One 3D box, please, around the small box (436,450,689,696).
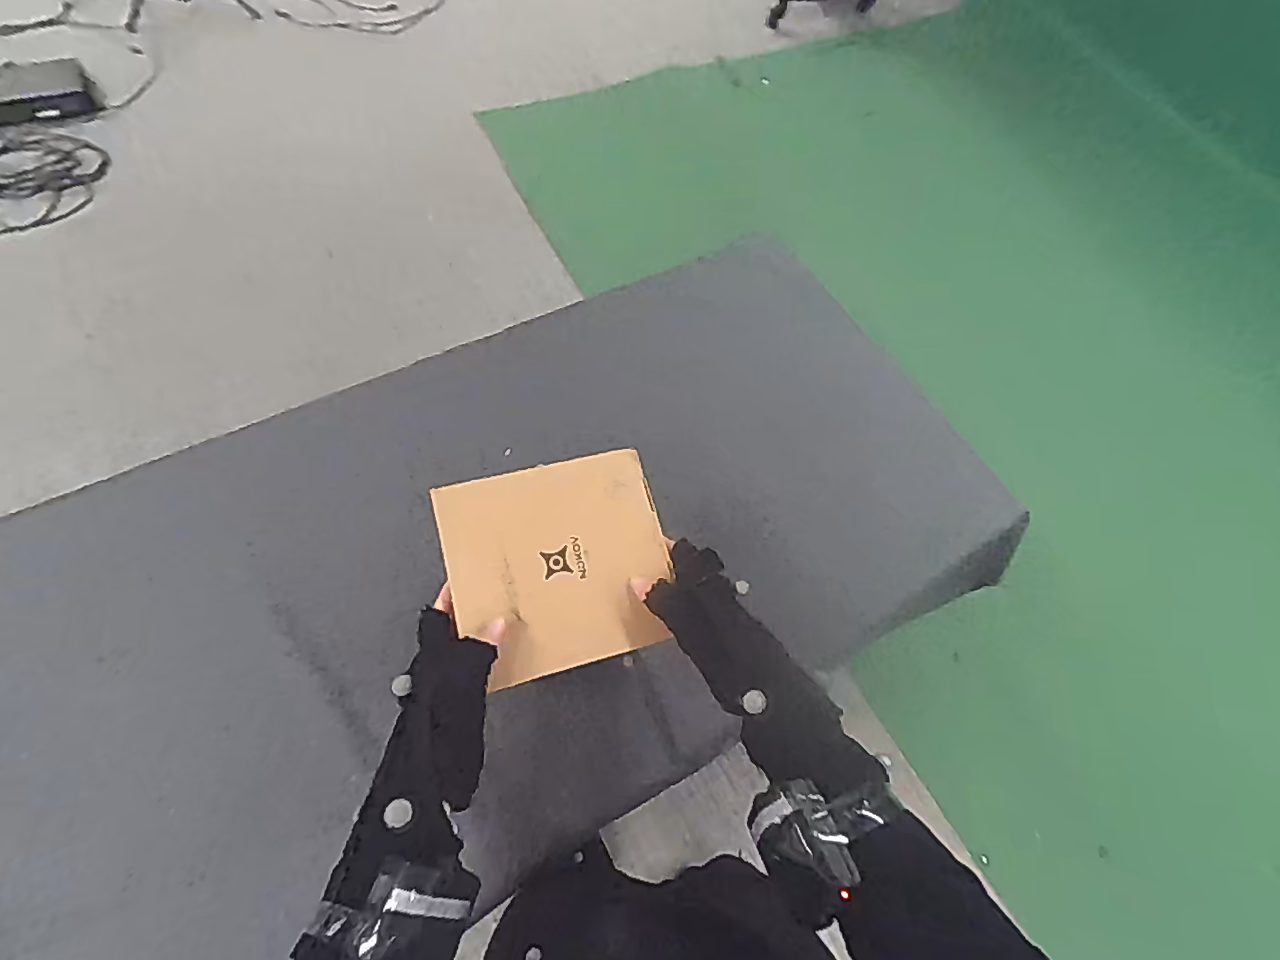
[{"bbox_3d":[-0.074,0.088,0.510,0.179,0.176,0.168,-13,75,-12],"label":"small box"}]
